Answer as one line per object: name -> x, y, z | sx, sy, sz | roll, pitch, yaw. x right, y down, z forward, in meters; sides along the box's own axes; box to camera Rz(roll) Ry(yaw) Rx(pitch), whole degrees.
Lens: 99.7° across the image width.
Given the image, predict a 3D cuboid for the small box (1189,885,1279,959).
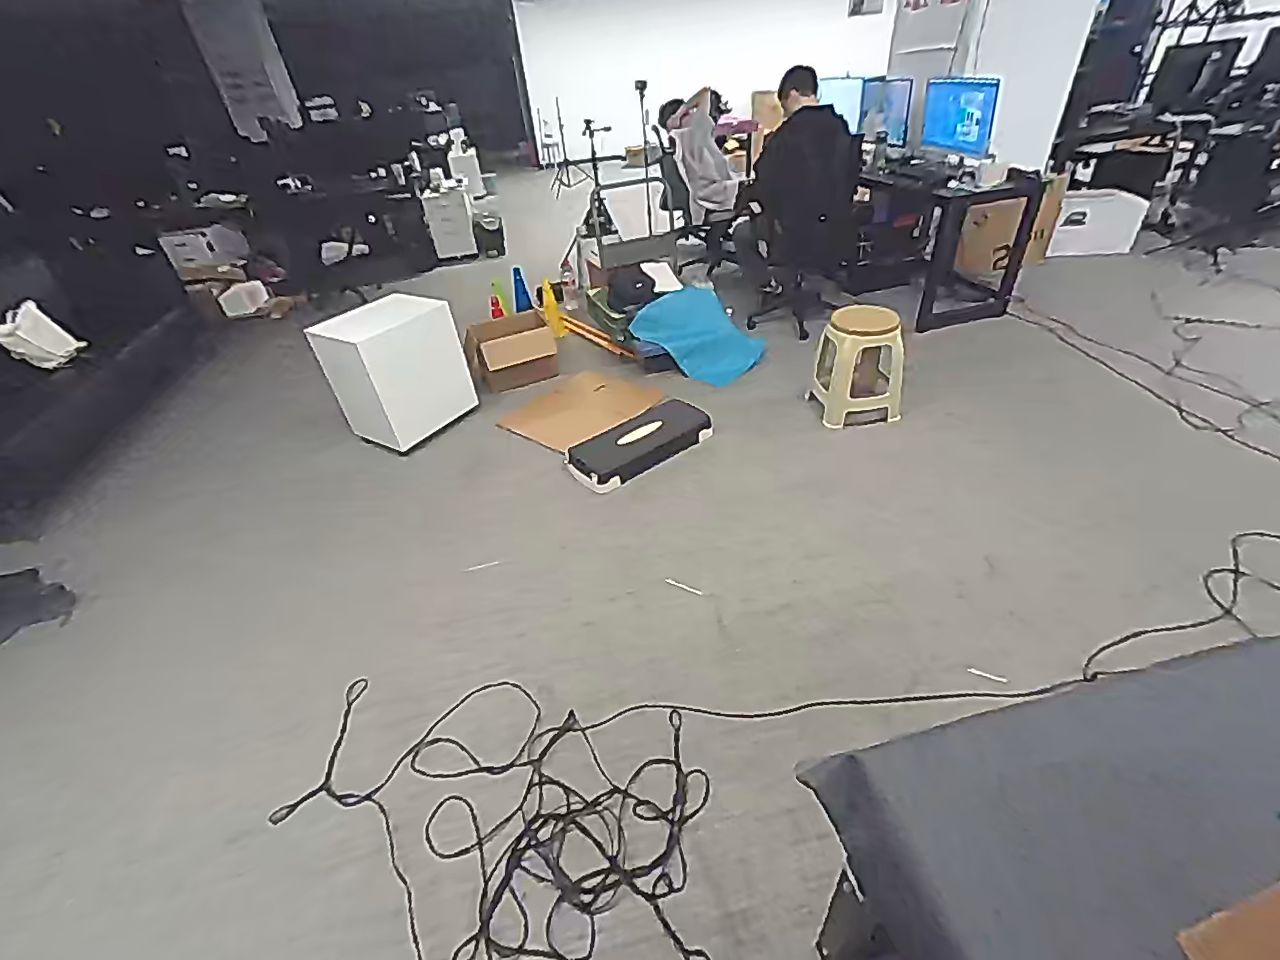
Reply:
small box -> 0.568, 0.395, 0.374 | 0.168, 0.176, 0.179 | -7, 36, -2
